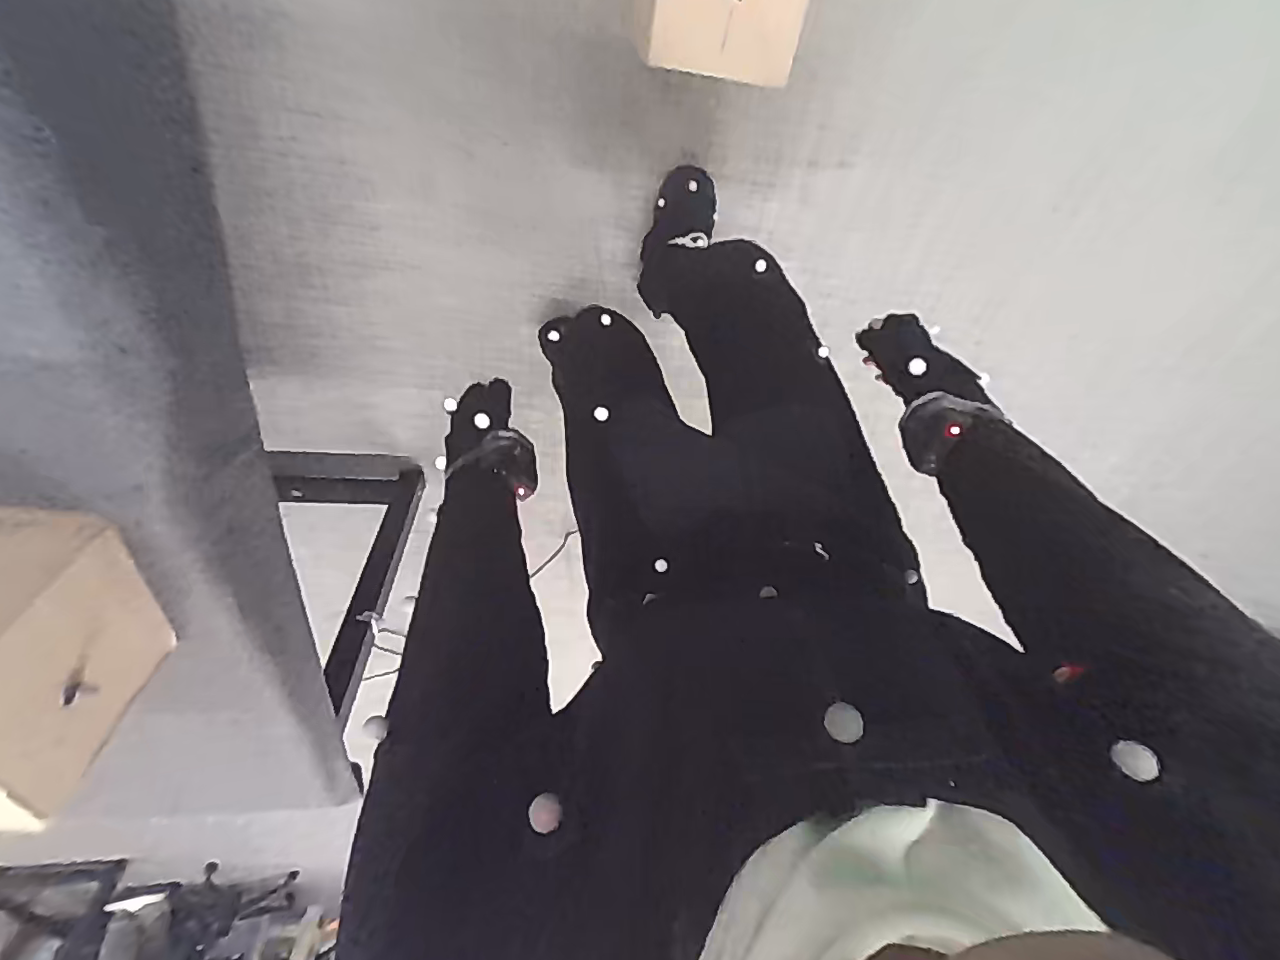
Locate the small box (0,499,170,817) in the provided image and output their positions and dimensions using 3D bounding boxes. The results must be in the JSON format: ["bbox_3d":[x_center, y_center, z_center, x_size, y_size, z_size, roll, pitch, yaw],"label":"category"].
[{"bbox_3d":[-0.519,0.131,0.413,0.168,0.176,0.179,7,128,-9],"label":"small box"}]
